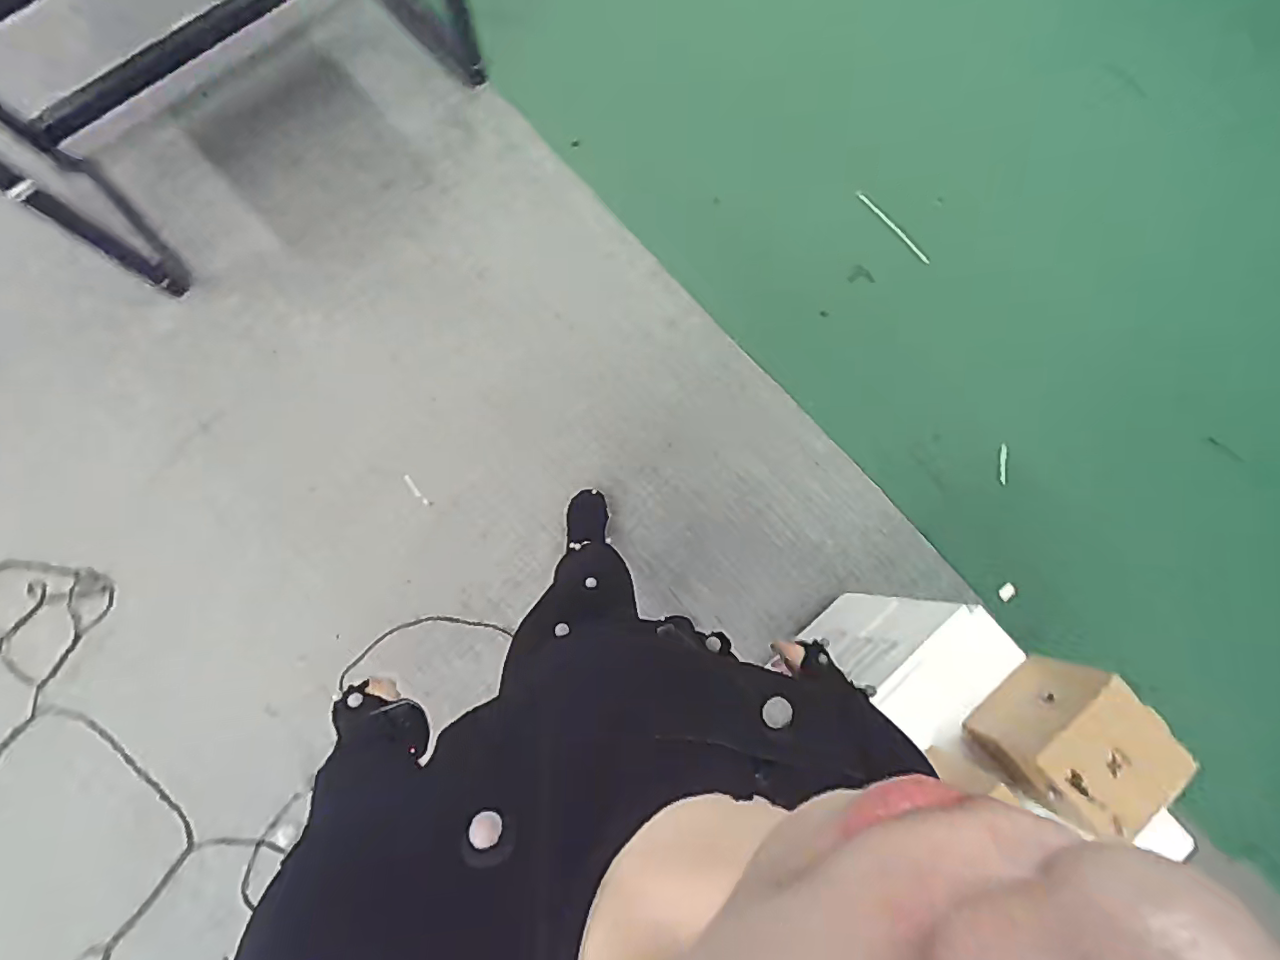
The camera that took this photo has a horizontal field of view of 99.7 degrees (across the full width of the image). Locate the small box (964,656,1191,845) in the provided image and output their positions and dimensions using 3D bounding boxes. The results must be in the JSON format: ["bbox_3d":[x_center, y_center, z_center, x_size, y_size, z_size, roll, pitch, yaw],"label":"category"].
[{"bbox_3d":[0.654,0.396,0.833,0.179,0.176,0.168,-38,84,-7],"label":"small box"}]
